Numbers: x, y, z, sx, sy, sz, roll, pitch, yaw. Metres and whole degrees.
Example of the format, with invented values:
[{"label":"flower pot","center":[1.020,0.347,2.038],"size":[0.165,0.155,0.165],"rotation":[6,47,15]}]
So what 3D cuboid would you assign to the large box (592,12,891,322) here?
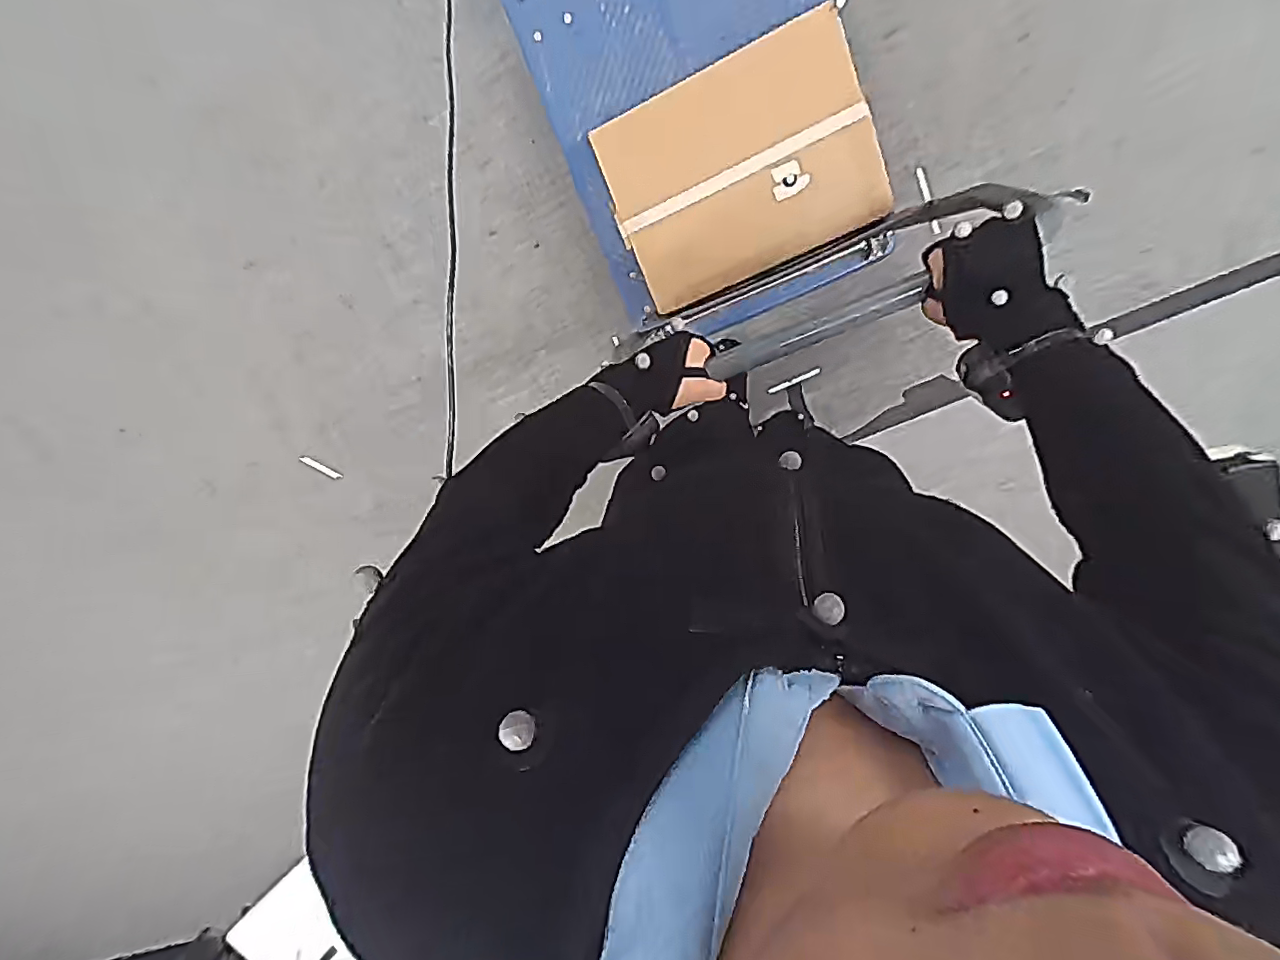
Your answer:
[{"label":"large box","center":[0.177,-0.519,1.005],"size":[0.408,0.320,0.320],"rotation":[-21,103,13]}]
